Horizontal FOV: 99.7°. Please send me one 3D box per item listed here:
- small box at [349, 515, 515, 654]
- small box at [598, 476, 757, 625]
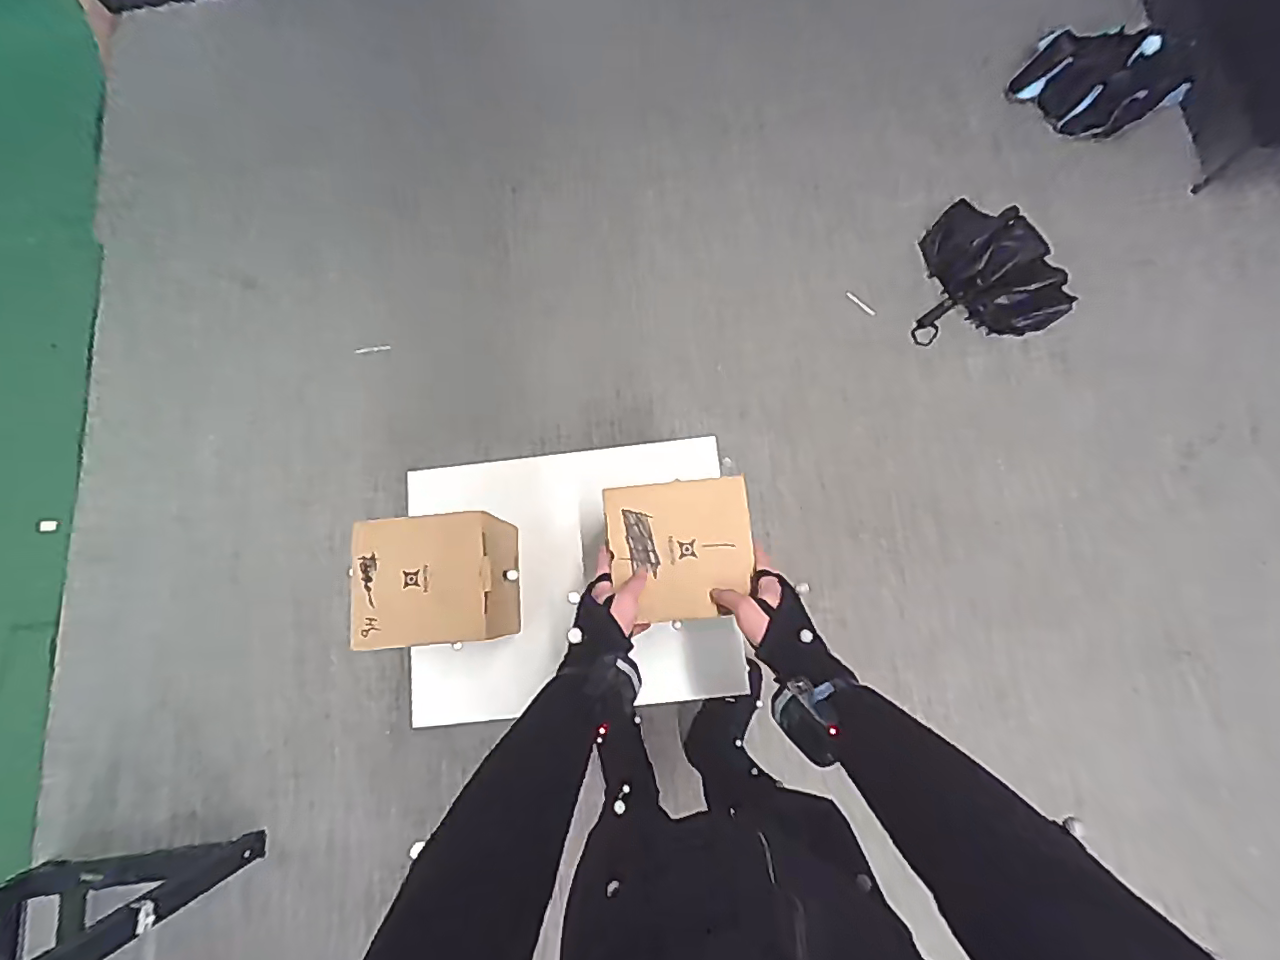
[{"bbox_3d":[-0.278,0.145,0.760,0.179,0.176,0.168,-5,78,0],"label":"small box"},{"bbox_3d":[0.047,0.098,0.719,0.179,0.176,0.168,-7,79,1],"label":"small box"}]
